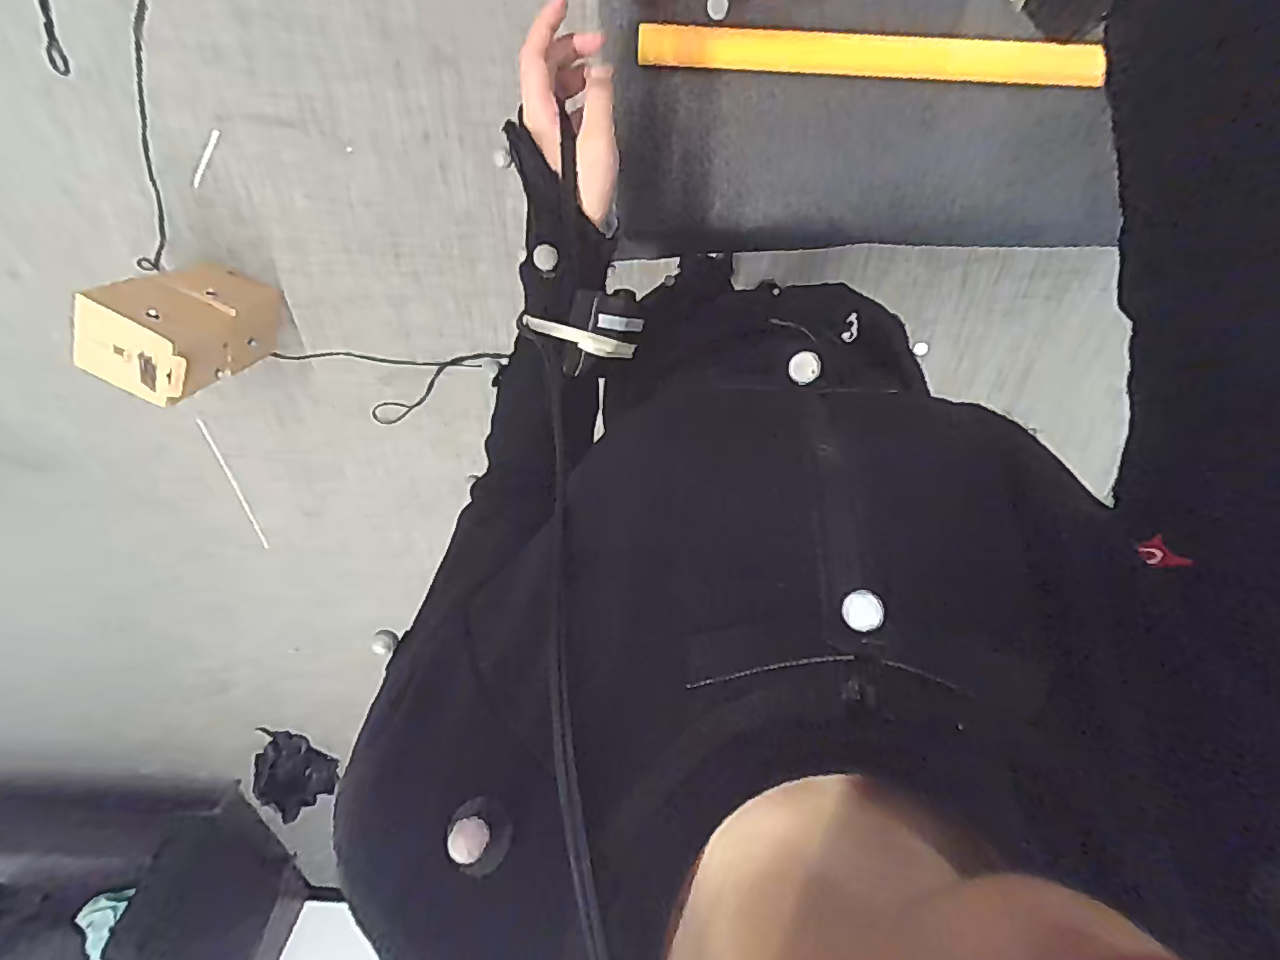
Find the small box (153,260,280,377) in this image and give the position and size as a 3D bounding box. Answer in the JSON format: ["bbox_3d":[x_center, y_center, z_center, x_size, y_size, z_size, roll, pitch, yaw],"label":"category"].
[{"bbox_3d":[-0.964,-0.373,1.240,0.168,0.176,0.179,25,121,-12],"label":"small box"}]

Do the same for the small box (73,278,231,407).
[{"bbox_3d":[-0.984,-0.286,1.102,0.179,0.176,0.168,30,119,-14],"label":"small box"}]
